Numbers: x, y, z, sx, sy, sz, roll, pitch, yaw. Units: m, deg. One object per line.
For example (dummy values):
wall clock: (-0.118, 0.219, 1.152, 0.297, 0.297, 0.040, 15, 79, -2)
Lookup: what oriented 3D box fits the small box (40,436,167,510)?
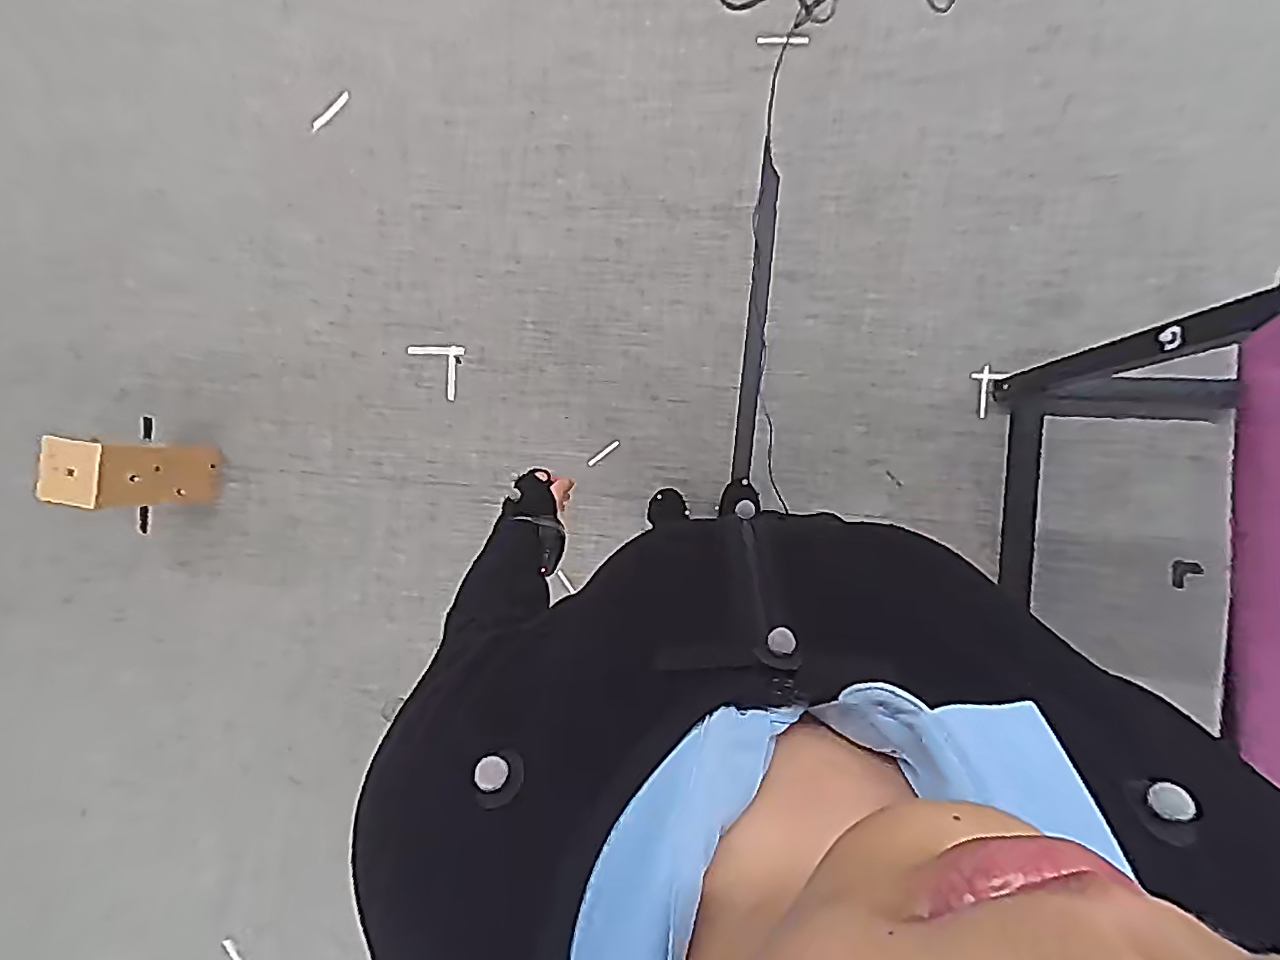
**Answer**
small box: (-1.418, -0.020, 1.438, 0.179, 0.176, 0.168, 9, 91, 7)
